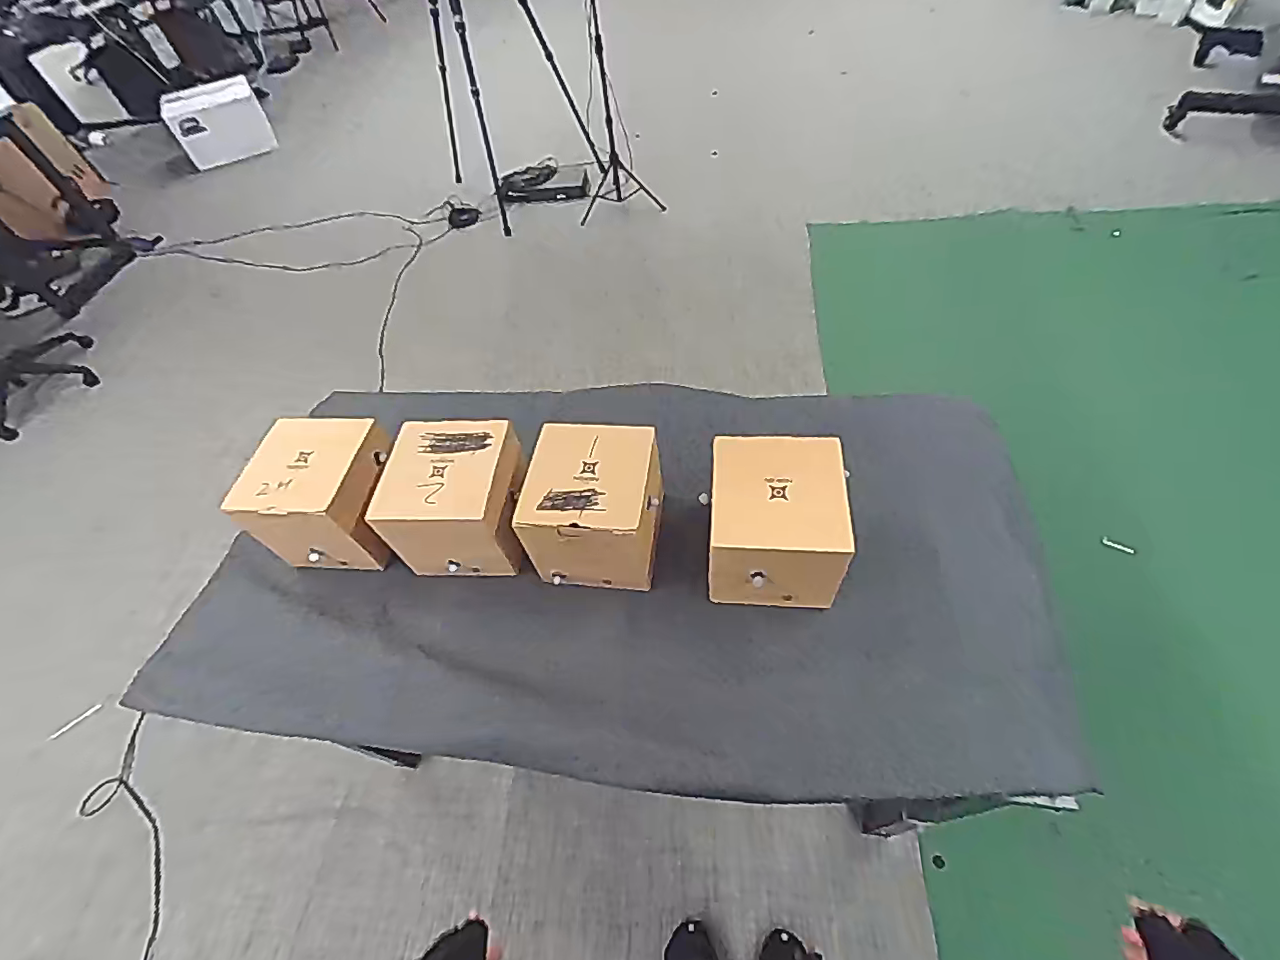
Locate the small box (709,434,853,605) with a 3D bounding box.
[{"bbox_3d":[0.182,0.057,0.737,0.168,0.176,0.179,1,54,9],"label":"small box"}]

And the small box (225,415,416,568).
[{"bbox_3d":[-0.480,0.018,0.850,0.168,0.176,0.179,1,54,8],"label":"small box"}]
